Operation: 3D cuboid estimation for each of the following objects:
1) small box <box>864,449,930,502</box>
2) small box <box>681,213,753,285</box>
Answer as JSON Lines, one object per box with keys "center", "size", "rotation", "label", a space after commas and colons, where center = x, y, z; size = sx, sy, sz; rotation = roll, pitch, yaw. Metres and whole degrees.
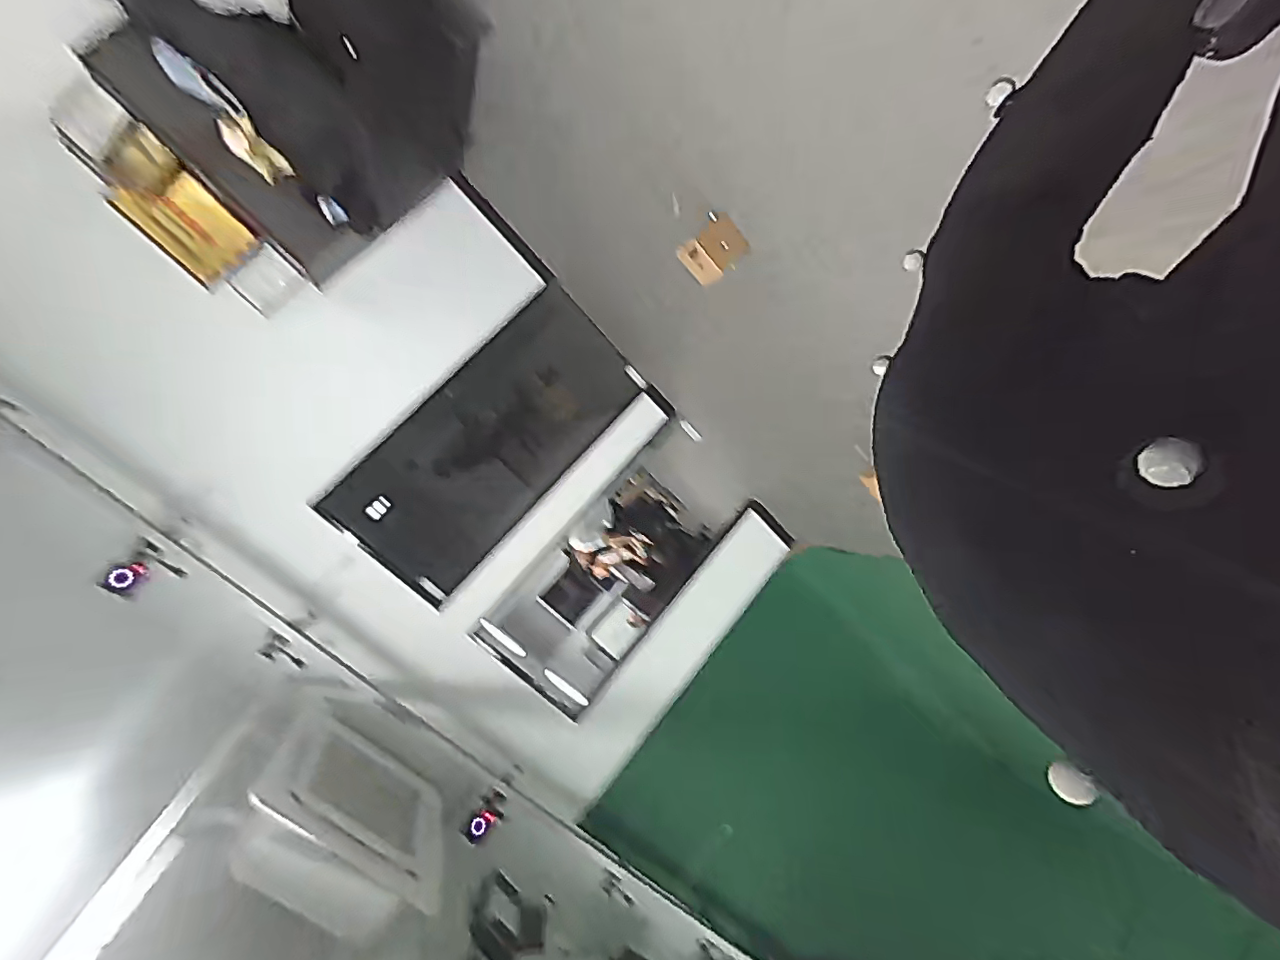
{"center": [1.158, -0.025, 2.431], "size": [0.168, 0.176, 0.179], "rotation": [46, 166, -21], "label": "small box"}
{"center": [0.300, -0.902, 2.098], "size": [0.179, 0.176, 0.168], "rotation": [45, 167, -17], "label": "small box"}
